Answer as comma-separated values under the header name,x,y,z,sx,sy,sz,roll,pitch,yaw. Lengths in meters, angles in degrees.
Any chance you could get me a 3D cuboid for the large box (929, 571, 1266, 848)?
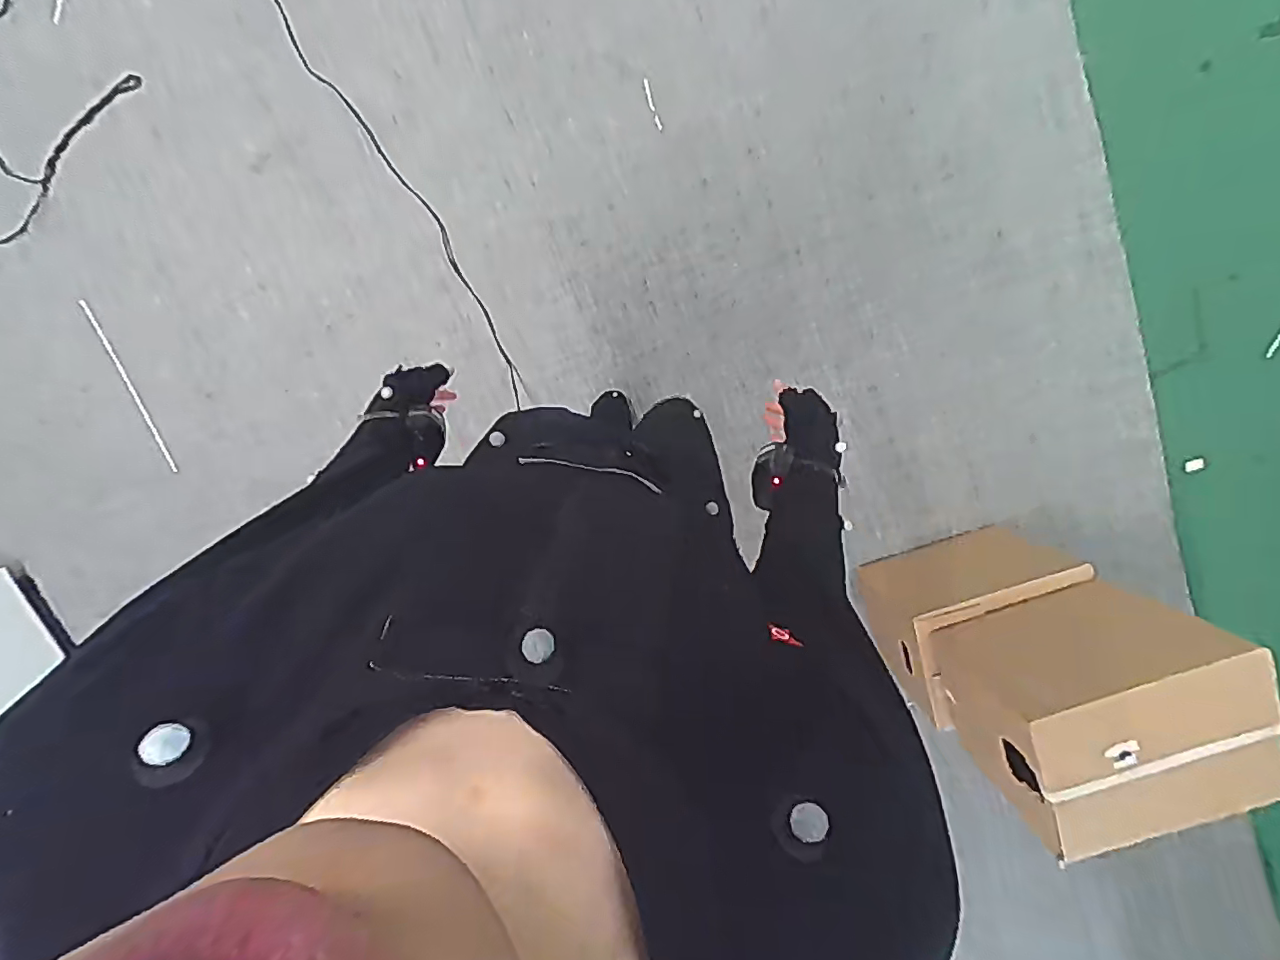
name,x,y,z,sx,sy,sz,roll,pitch,yaw
large box,0.880,0.434,1.085,0.408,0.320,0.320,-20,103,4
